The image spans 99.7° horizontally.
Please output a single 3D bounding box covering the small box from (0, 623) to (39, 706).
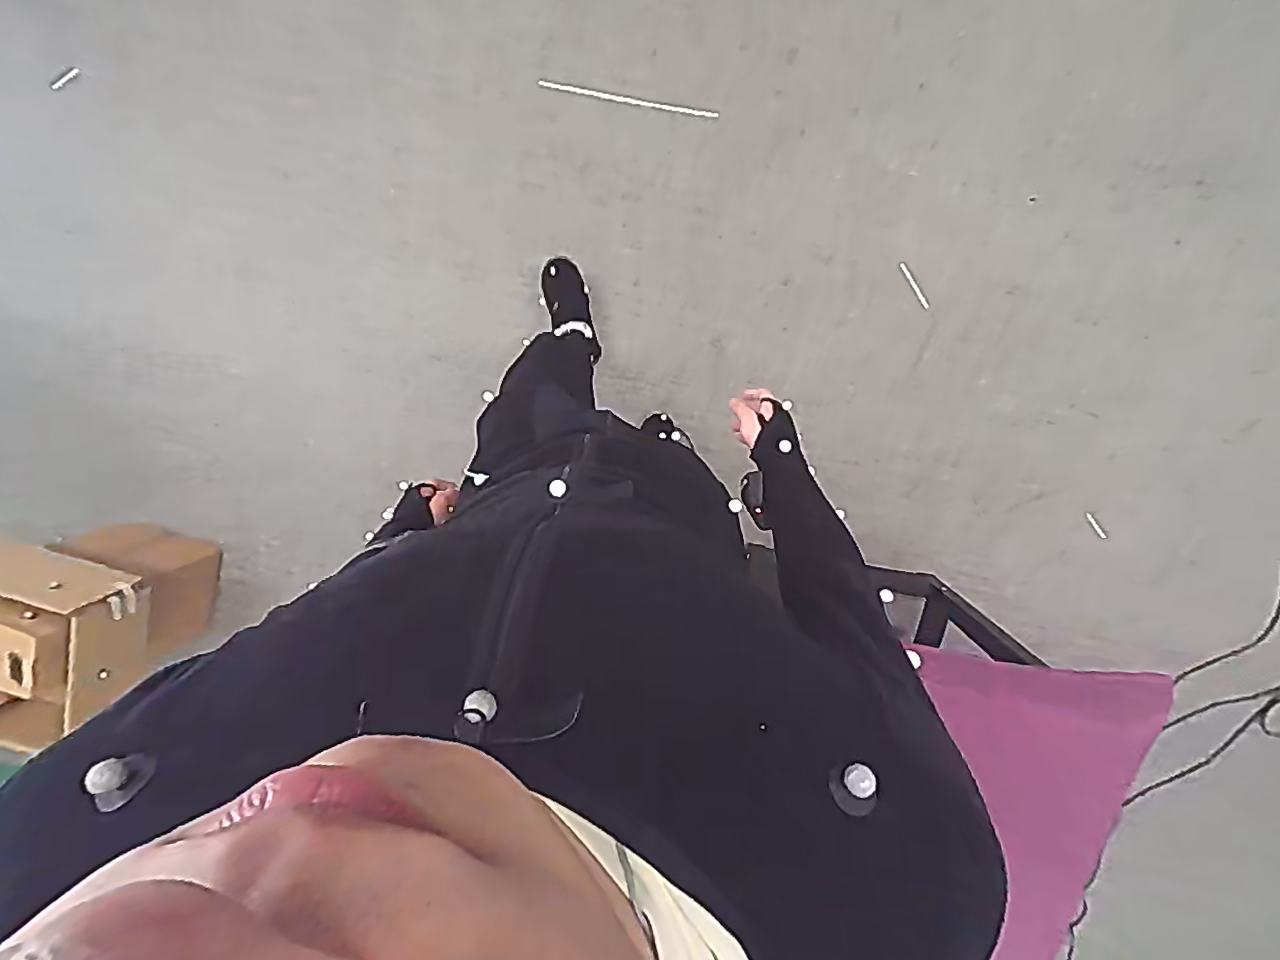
[{"bbox_3d":[-1.621,0.456,1.302,0.179,0.176,0.168,16,101,-1],"label":"small box"}]
